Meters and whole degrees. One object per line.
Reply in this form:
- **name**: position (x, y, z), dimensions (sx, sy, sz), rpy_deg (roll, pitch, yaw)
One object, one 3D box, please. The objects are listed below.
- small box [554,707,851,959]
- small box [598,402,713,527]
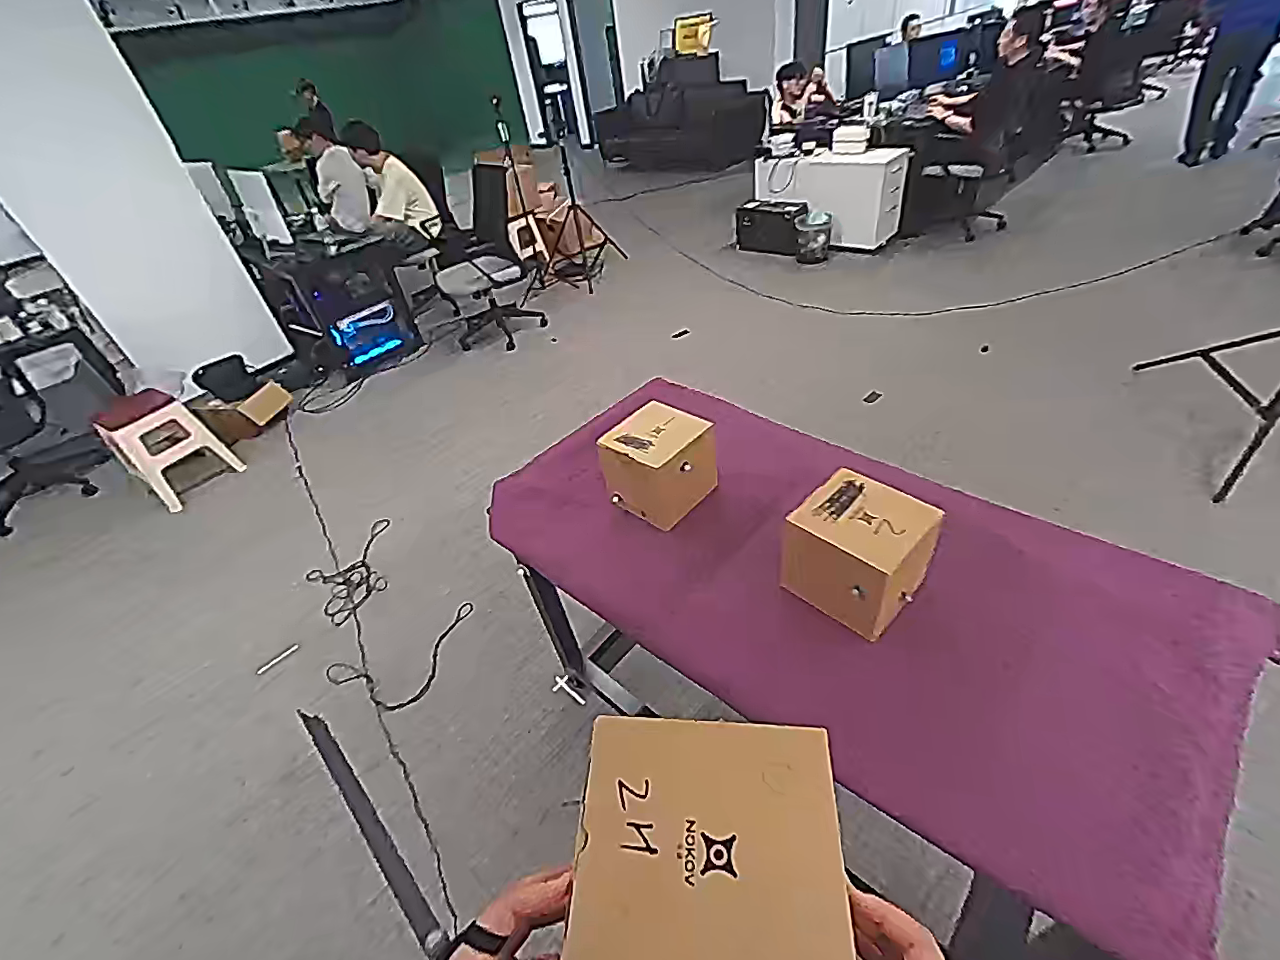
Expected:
- **small box**: position (0.049, 0.291, 0.414), dimensions (0.179, 0.176, 0.168), rpy_deg (-1, 47, 8)
- **small box**: position (0.042, -0.031, 1.130), dimensions (0.168, 0.176, 0.179), rpy_deg (27, 52, 36)
